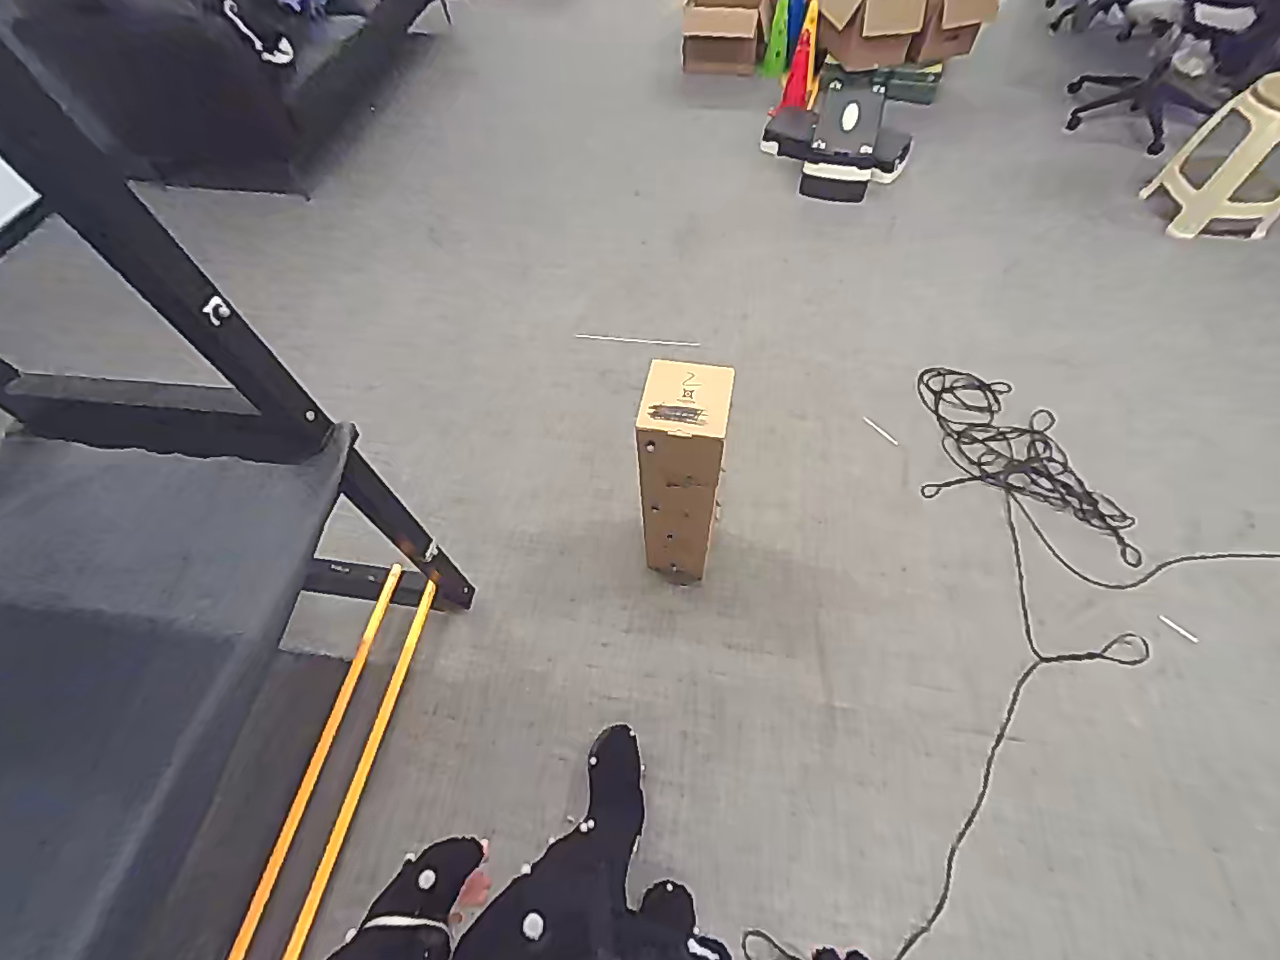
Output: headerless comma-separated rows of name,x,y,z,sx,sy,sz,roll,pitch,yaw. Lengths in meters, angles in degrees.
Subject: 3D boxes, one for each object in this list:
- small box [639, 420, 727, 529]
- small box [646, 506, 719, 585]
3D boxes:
small box,0.100,-0.008,1.231,0.168,0.176,0.179,10,58,9
small box,0.119,0.168,1.505,0.168,0.176,0.179,11,59,11
